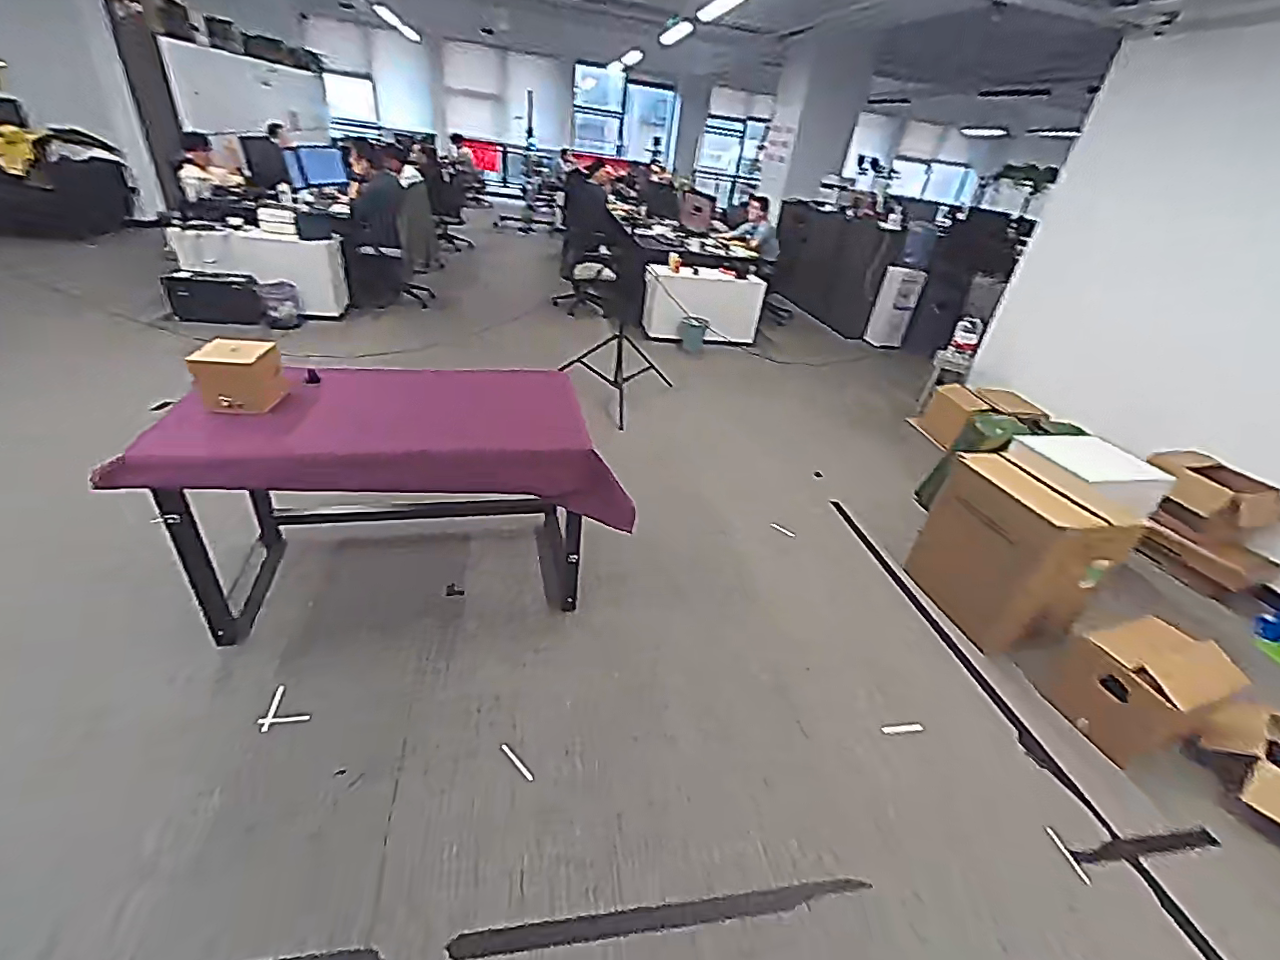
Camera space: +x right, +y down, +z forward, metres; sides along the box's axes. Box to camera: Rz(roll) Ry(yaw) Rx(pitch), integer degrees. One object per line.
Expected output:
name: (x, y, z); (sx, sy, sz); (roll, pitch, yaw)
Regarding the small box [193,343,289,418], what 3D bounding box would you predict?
small box: (-1.192, -0.301, 1.634); (0.168, 0.176, 0.179); (0, 33, -10)
